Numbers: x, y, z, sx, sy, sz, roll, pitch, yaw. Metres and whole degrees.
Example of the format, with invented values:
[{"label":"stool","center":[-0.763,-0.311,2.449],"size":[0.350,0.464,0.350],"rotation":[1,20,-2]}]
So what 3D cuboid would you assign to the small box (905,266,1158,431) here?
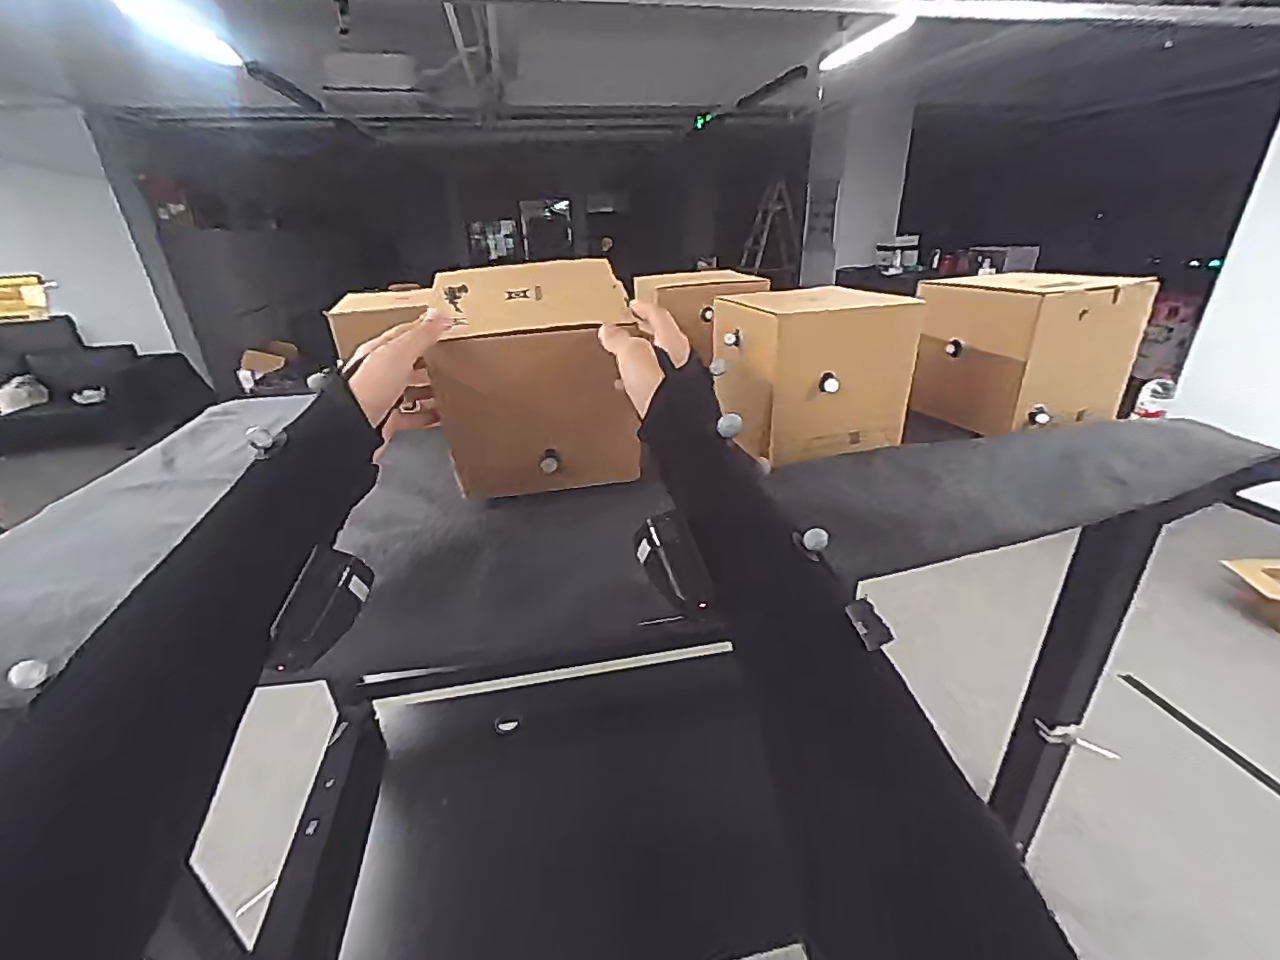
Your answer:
[{"label":"small box","center":[0.464,-0.165,0.671],"size":[0.168,0.176,0.179],"rotation":[-10,25,-14]}]

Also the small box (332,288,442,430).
[{"label":"small box","center":[-0.325,-0.184,0.794],"size":[0.168,0.176,0.179],"rotation":[-11,27,-14]}]

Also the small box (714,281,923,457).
[{"label":"small box","center":[0.194,-0.132,0.636],"size":[0.168,0.176,0.179],"rotation":[-8,25,-11]}]

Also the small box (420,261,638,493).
[{"label":"small box","center":[-0.101,-0.105,0.544],"size":[0.179,0.176,0.168],"rotation":[-6,39,-8]}]

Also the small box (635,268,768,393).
[{"label":"small box","center":[0.095,-0.246,0.882],"size":[0.179,0.176,0.168],"rotation":[-7,26,-9]}]
